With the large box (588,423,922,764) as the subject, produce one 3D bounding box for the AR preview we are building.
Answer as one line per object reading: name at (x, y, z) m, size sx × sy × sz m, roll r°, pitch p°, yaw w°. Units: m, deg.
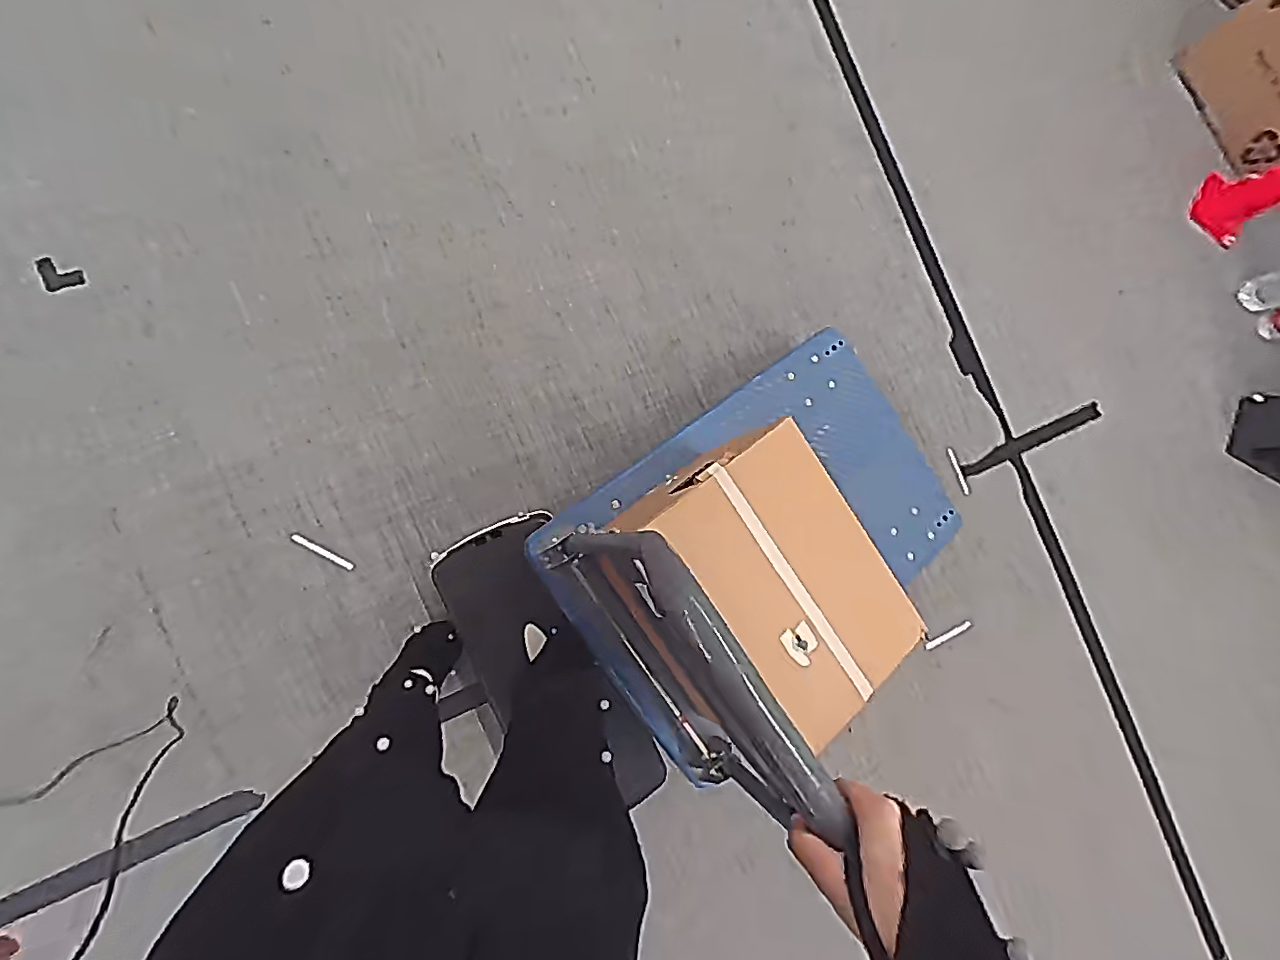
large box at (0.173, 0.174, 0.927) m, size 0.320 × 0.320 × 0.408 m, roll -35°, pitch 95°, yaw -20°
